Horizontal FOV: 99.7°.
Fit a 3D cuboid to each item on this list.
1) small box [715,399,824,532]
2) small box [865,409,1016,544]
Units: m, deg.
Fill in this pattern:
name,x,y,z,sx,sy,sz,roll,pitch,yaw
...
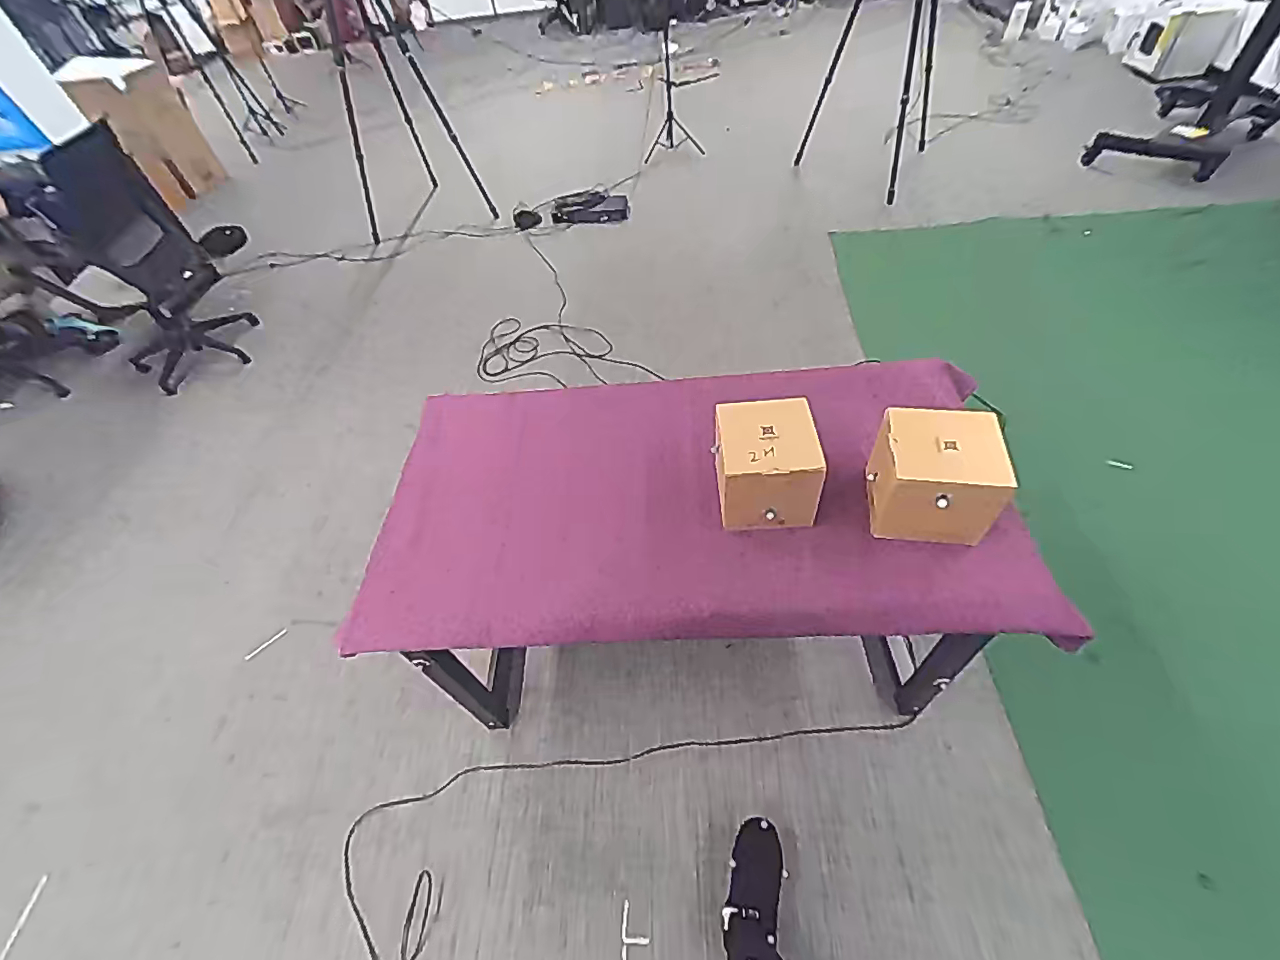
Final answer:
name,x,y,z,sx,sy,sz,roll,pitch,yaw
small box,0.225,-0.024,0.990,0.168,0.176,0.179,-4,51,5
small box,0.504,-0.003,0.935,0.179,0.176,0.168,4,52,12
